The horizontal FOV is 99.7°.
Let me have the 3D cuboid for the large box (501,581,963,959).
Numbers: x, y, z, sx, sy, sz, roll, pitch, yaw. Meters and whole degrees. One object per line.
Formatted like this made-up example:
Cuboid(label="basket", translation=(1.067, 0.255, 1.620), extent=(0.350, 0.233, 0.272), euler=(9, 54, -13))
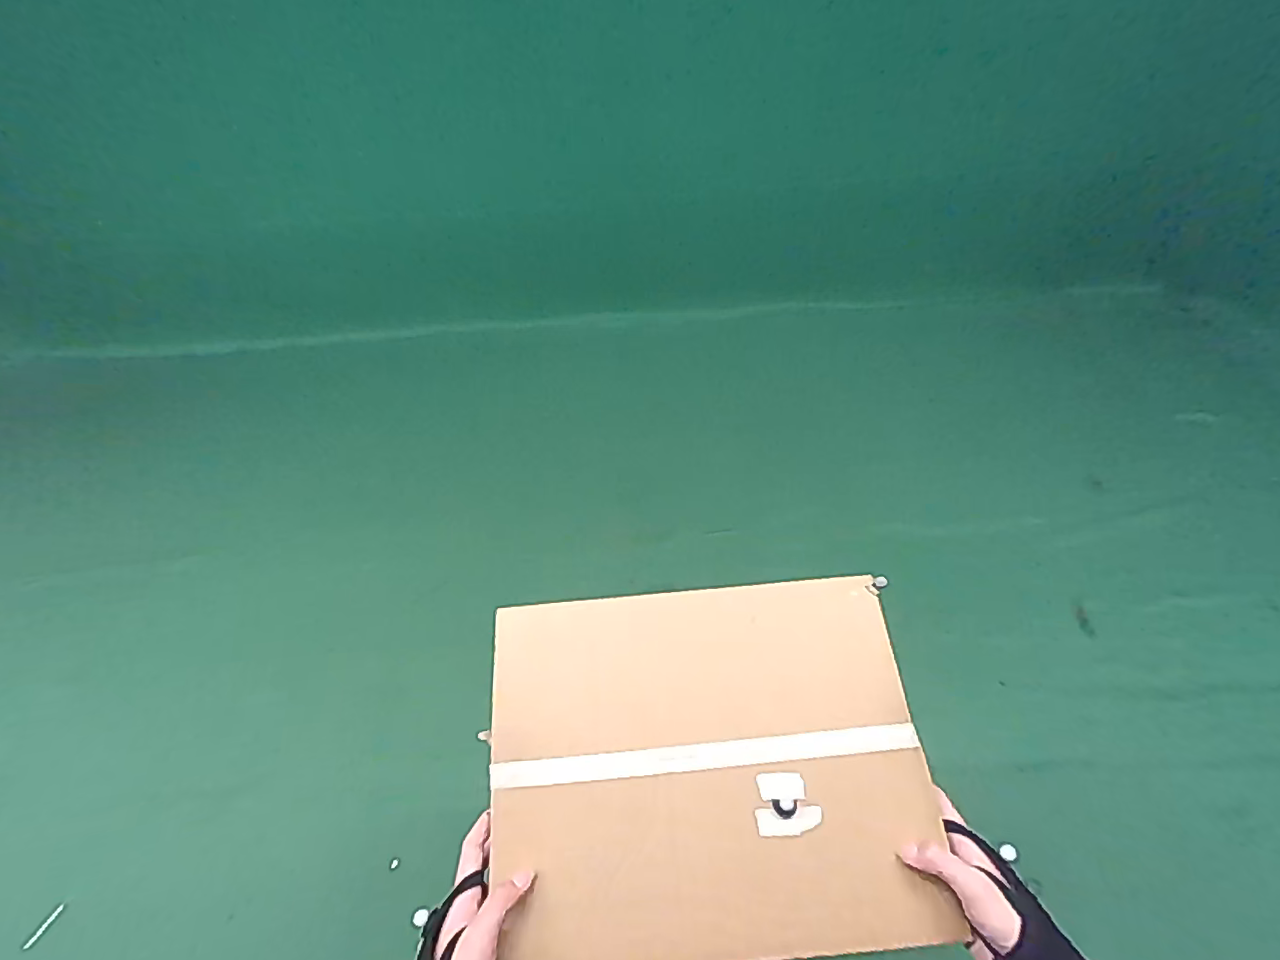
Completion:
Cuboid(label="large box", translation=(0.067, 0.334, 0.652), extent=(0.408, 0.320, 0.320), euler=(-6, 65, -2))
